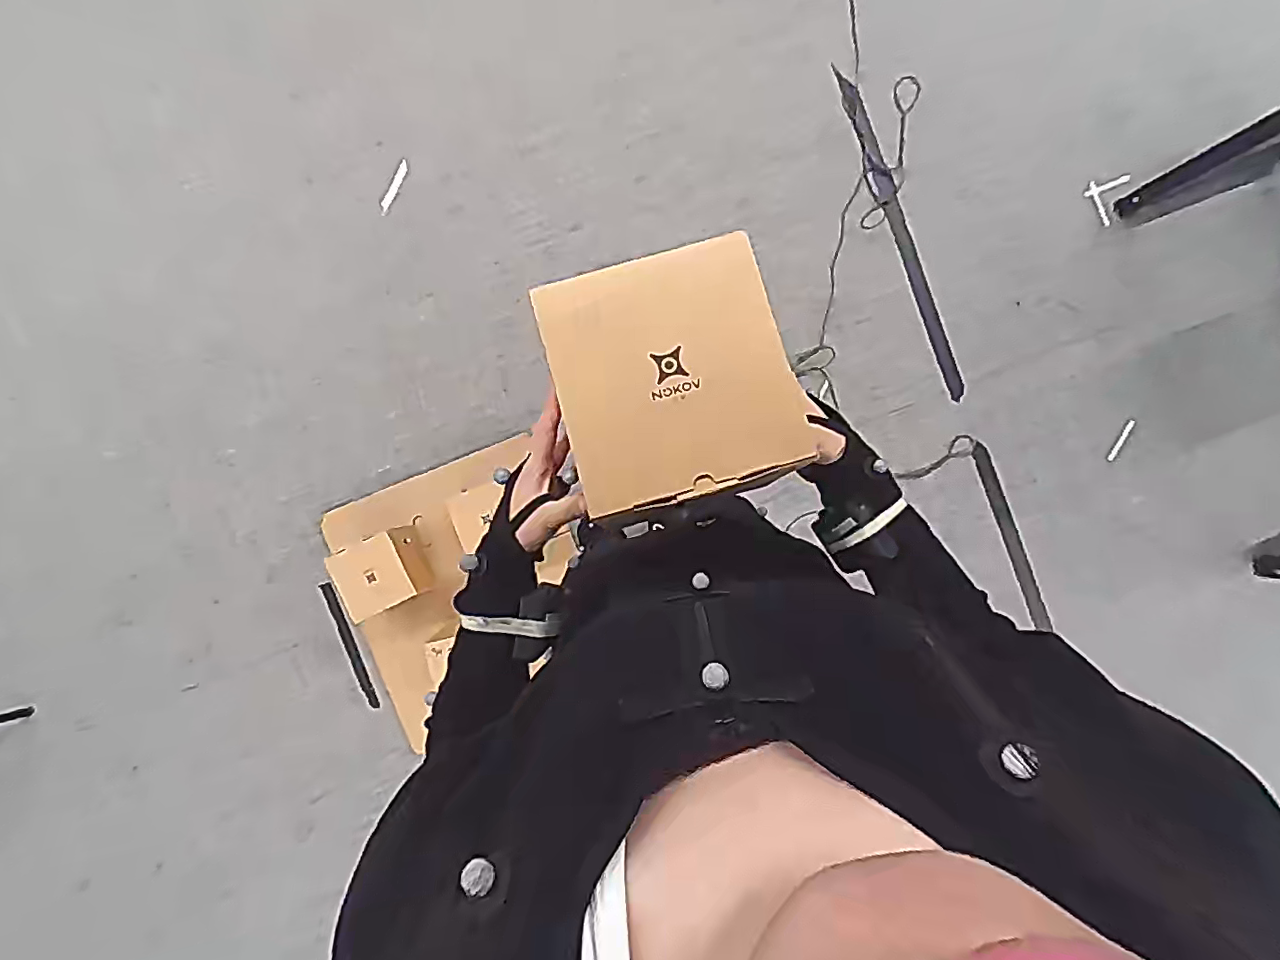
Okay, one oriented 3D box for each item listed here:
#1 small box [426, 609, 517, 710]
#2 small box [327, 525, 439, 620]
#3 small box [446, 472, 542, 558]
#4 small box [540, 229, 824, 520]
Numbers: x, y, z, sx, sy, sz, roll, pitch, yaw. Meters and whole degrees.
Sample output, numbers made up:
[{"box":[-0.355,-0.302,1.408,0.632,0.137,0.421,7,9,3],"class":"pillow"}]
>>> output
[{"box":[-0.421,0.450,1.380,0.168,0.176,0.179,-13,91,-4],"class":"small box"},{"box":[-0.643,0.225,1.373,0.168,0.176,0.179,-27,90,-2],"class":"small box"},{"box":[-0.367,0.087,1.390,0.179,0.176,0.168,-22,91,-4],"class":"small box"},{"box":[0.027,-0.071,0.459,0.168,0.176,0.179,-16,85,-1],"class":"small box"}]
